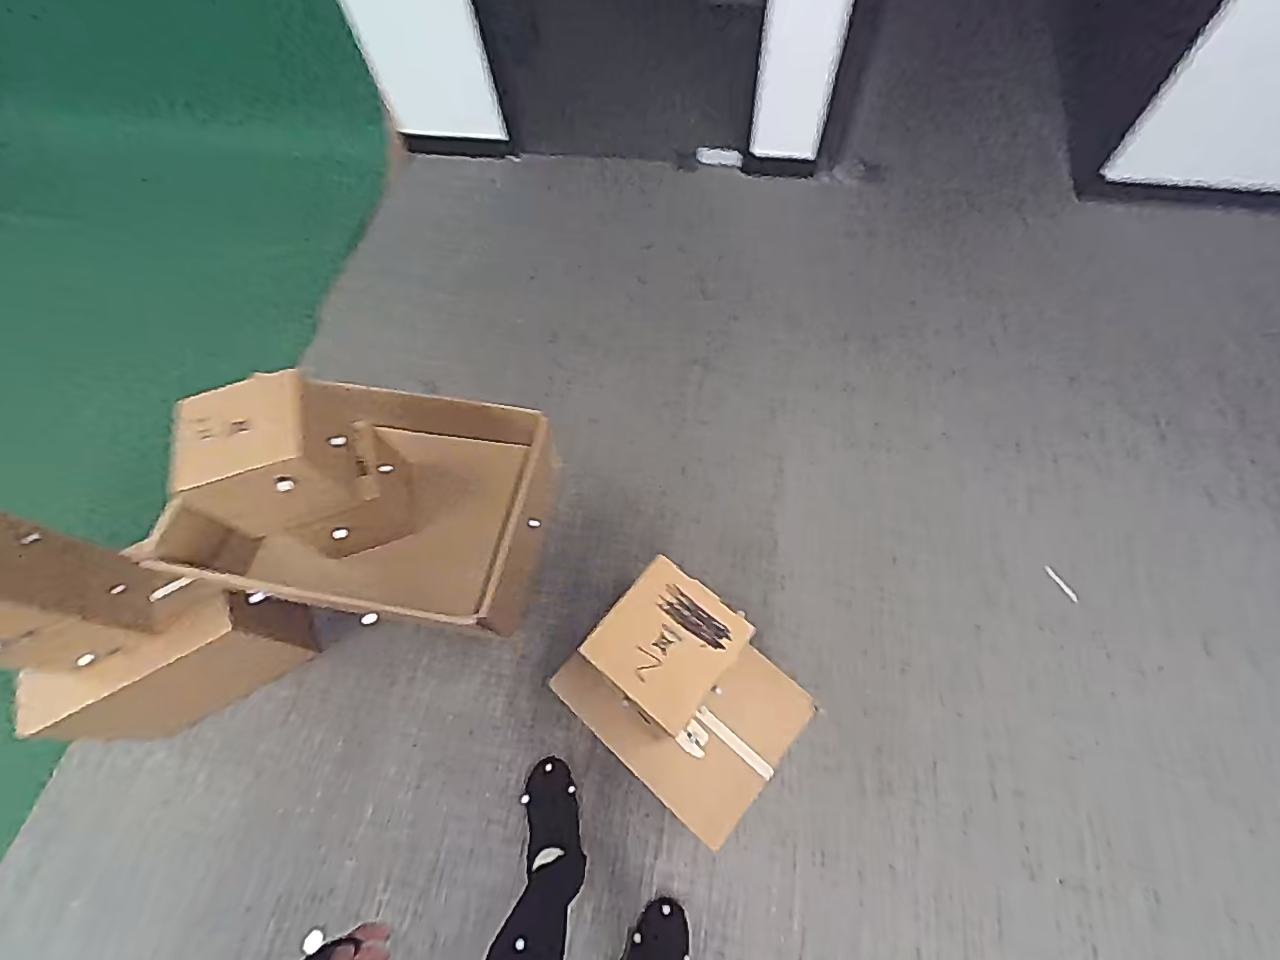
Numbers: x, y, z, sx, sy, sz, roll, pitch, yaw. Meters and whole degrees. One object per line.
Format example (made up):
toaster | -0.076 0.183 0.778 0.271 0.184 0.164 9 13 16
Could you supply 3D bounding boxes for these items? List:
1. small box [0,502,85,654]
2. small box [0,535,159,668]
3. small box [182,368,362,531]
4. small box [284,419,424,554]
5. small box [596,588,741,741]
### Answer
small box | -1.078 0.166 0.892 0.168 0.176 0.179 -27 64 -9
small box | -1.076 0.238 1.039 0.168 0.176 0.179 -24 64 -8
small box | -0.558 -0.042 0.848 0.179 0.176 0.168 -17 62 -4
small box | -0.527 0.019 0.999 0.179 0.176 0.168 -18 65 -5
small box | 0.046 0.321 0.932 0.179 0.176 0.168 -41 68 -17
